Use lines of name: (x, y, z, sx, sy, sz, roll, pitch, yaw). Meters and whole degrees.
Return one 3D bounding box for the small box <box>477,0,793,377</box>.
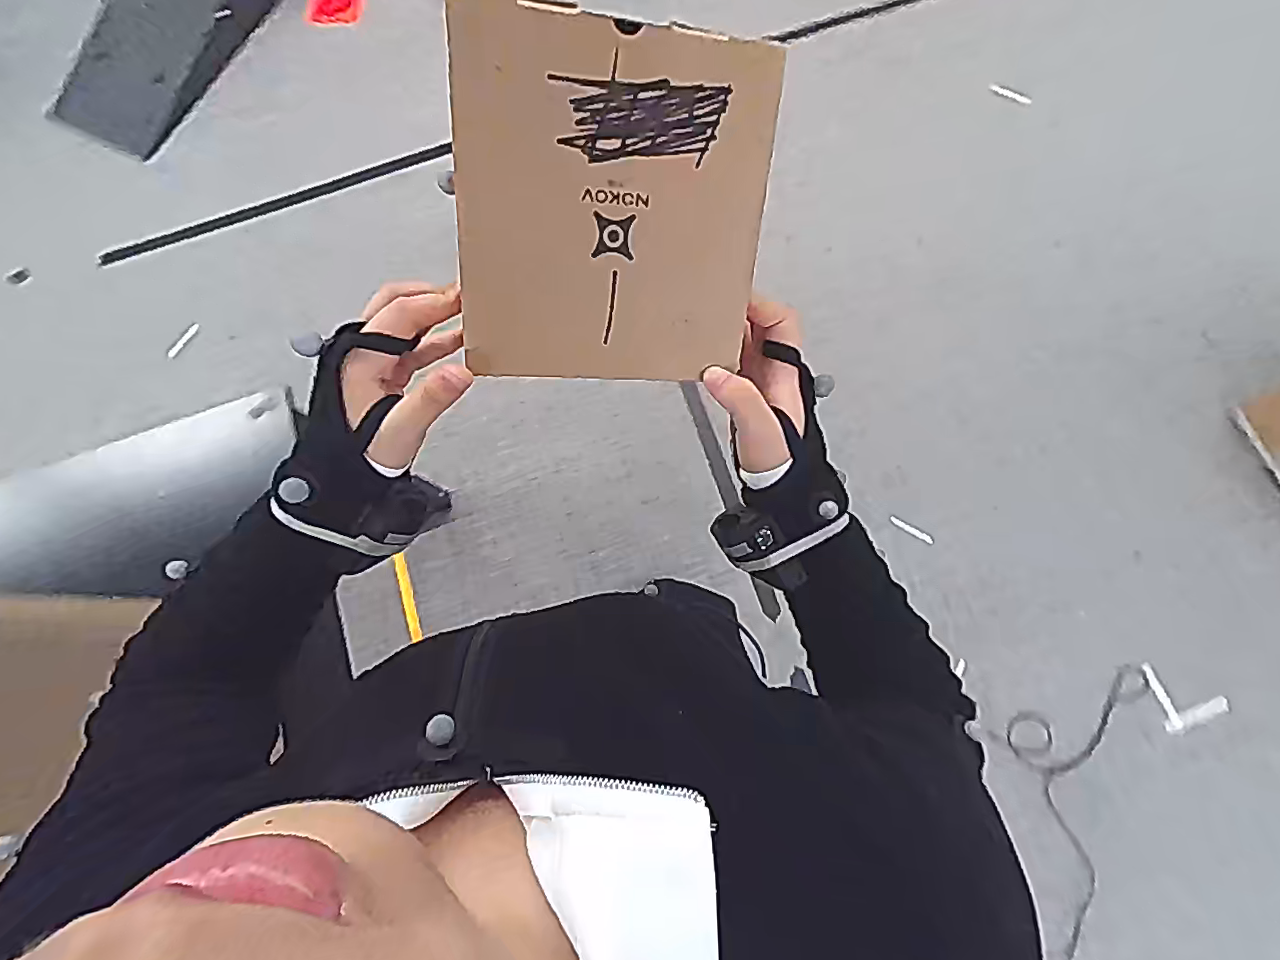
small box: (-0.020, -0.177, 0.369, 0.168, 0.176, 0.179, 1, 113, -11)
